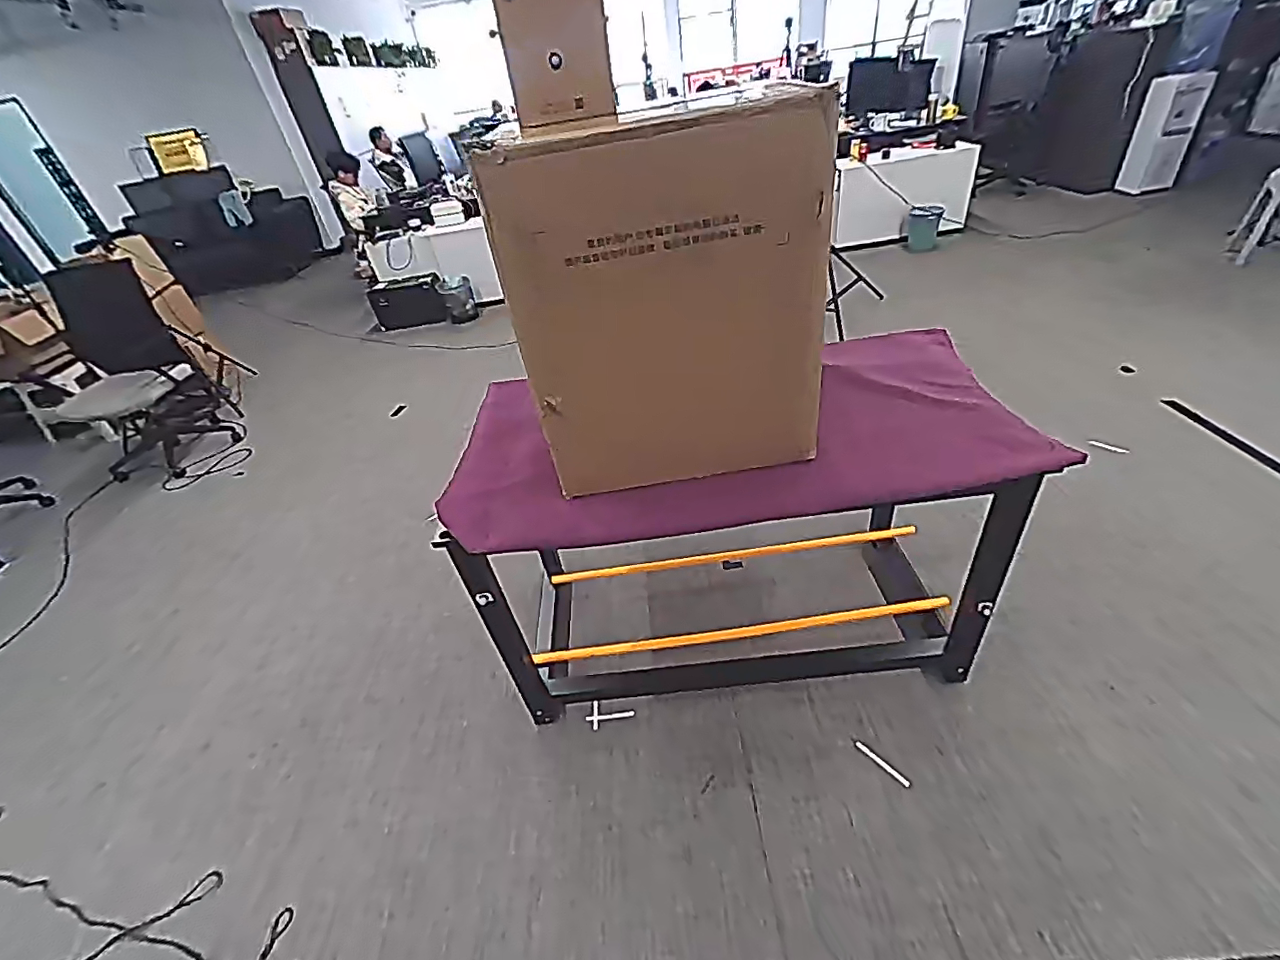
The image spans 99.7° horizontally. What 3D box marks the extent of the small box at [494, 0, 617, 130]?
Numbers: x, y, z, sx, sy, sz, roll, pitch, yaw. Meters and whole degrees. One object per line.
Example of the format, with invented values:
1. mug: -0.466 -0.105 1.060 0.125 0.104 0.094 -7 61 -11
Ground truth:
1. small box: -0.137 -0.698 0.905 0.168 0.176 0.179 -11 37 -4
